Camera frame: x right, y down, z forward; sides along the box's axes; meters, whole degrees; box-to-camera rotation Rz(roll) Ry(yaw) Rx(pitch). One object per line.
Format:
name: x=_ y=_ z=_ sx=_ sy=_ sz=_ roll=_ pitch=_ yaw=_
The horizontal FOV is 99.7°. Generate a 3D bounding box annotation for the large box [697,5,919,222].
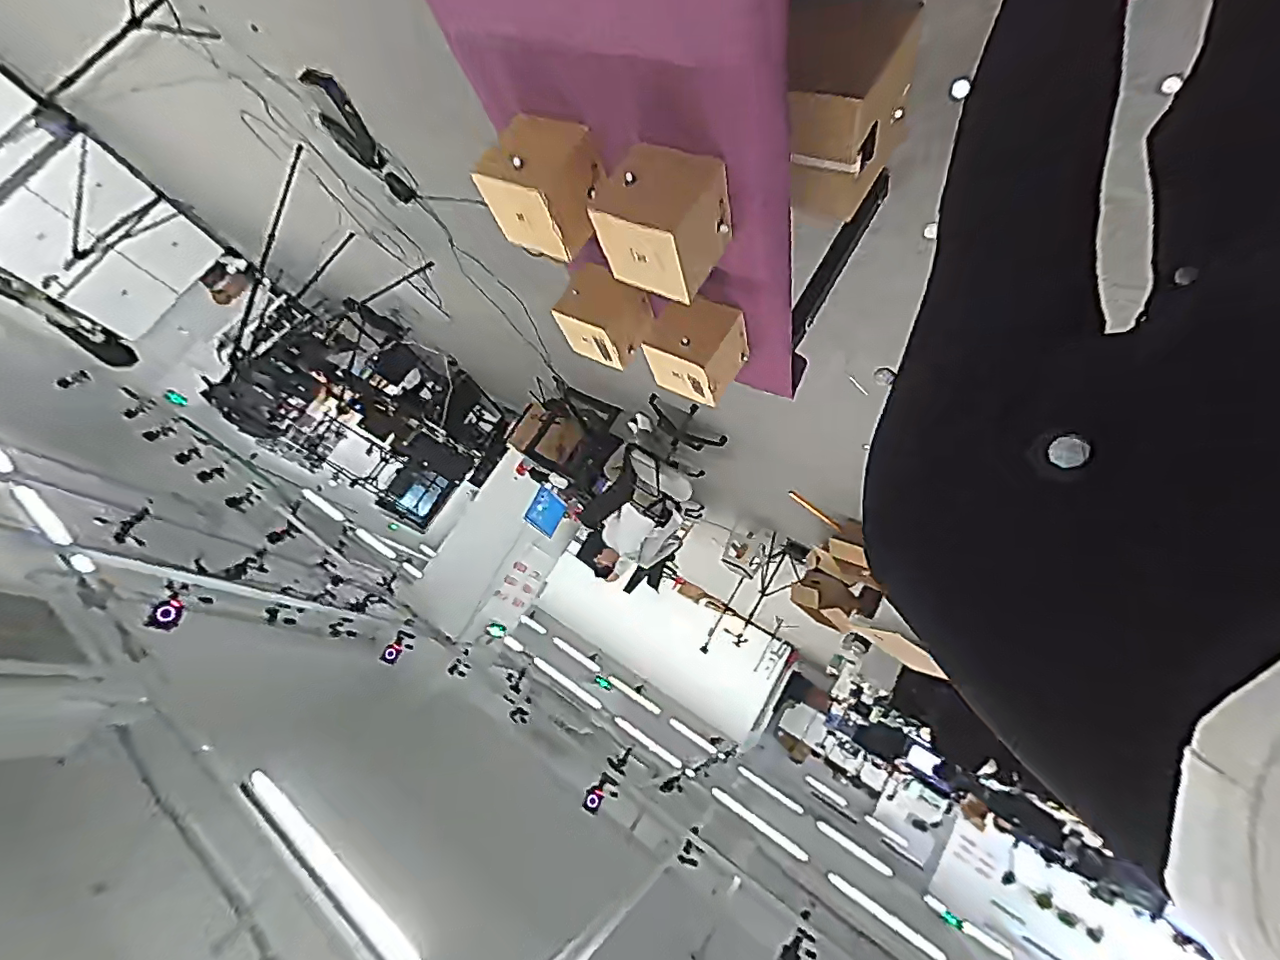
large box: x=0.411 y=-0.913 z=1.348 sx=0.408 sy=0.320 sz=0.320 roll=28 pitch=166 yaw=25

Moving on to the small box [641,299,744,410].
small box: x=0.134 y=-0.301 z=1.282 sx=0.179 sy=0.176 sz=0.168 roll=28 pitch=166 yaw=26

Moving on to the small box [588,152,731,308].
small box: x=0.042 y=-0.446 z=0.962 sx=0.179 sy=0.176 sz=0.168 roll=28 pitch=167 yaw=23

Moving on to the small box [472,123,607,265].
small box: x=-0.185 y=-0.564 z=1.064 sx=0.179 sy=0.176 sz=0.168 roll=26 pitch=165 yaw=23
